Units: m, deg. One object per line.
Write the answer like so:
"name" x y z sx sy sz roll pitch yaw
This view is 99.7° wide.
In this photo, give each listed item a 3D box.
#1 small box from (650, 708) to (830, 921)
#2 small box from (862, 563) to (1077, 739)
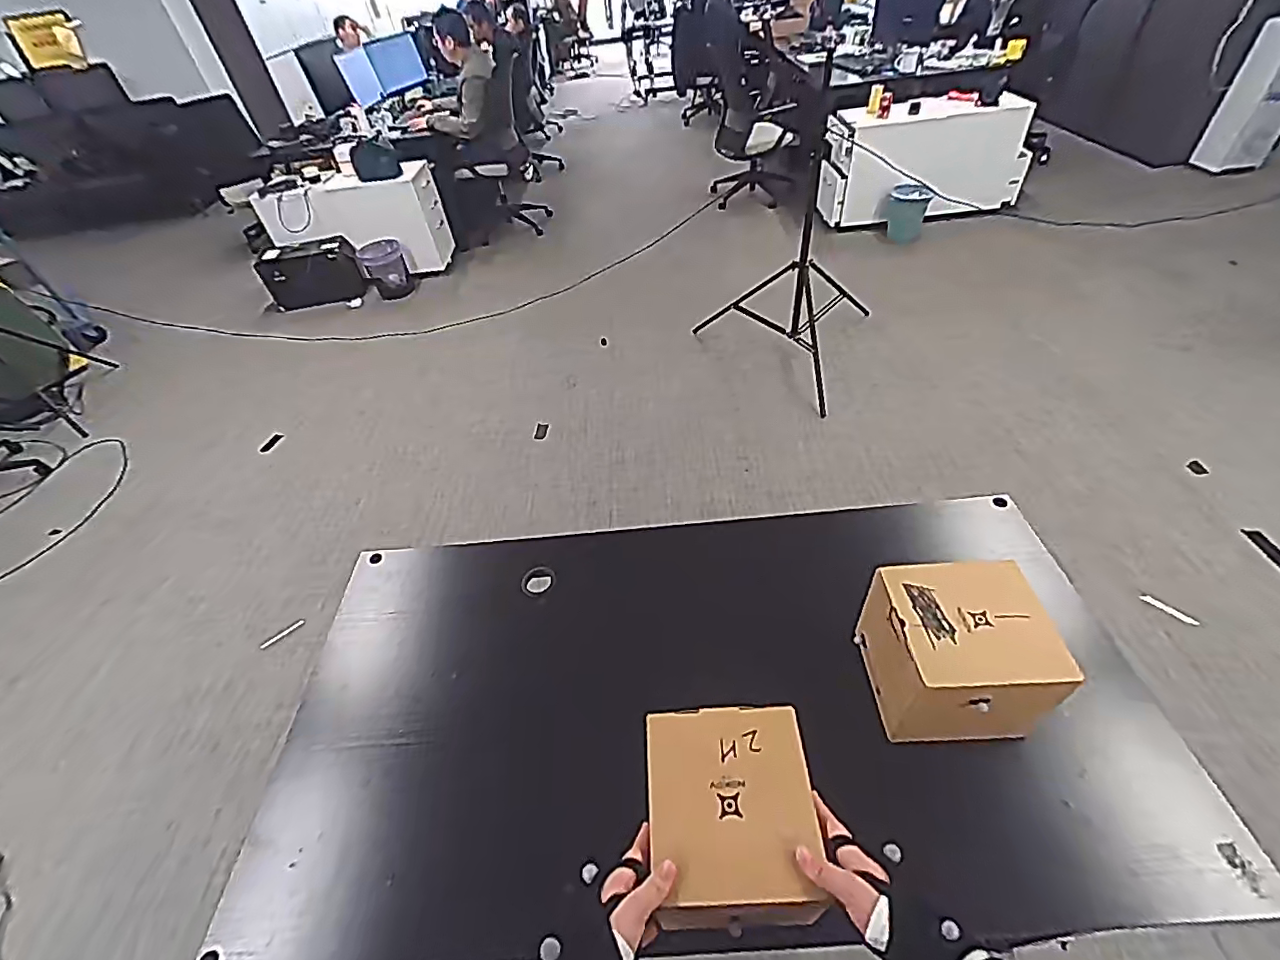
"small box" 0.101 0.380 0.609 0.168 0.176 0.179 -4 45 3
"small box" 0.408 0.229 0.715 0.179 0.176 0.168 -4 45 4
